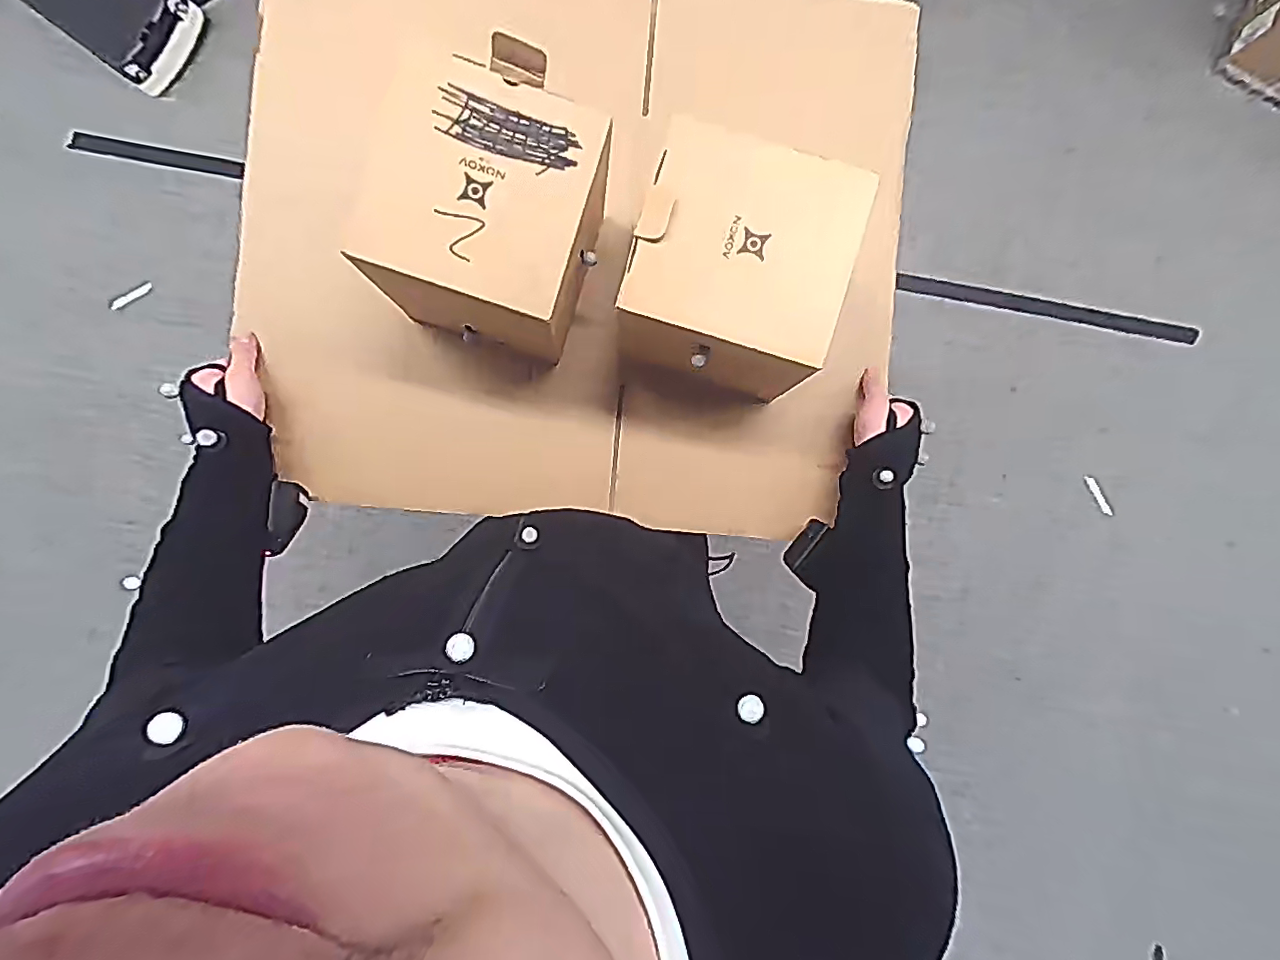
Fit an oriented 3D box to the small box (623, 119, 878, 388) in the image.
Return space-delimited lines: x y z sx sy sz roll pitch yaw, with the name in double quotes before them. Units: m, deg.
"small box" 0.092 -0.197 0.526 0.179 0.176 0.168 17 90 1
